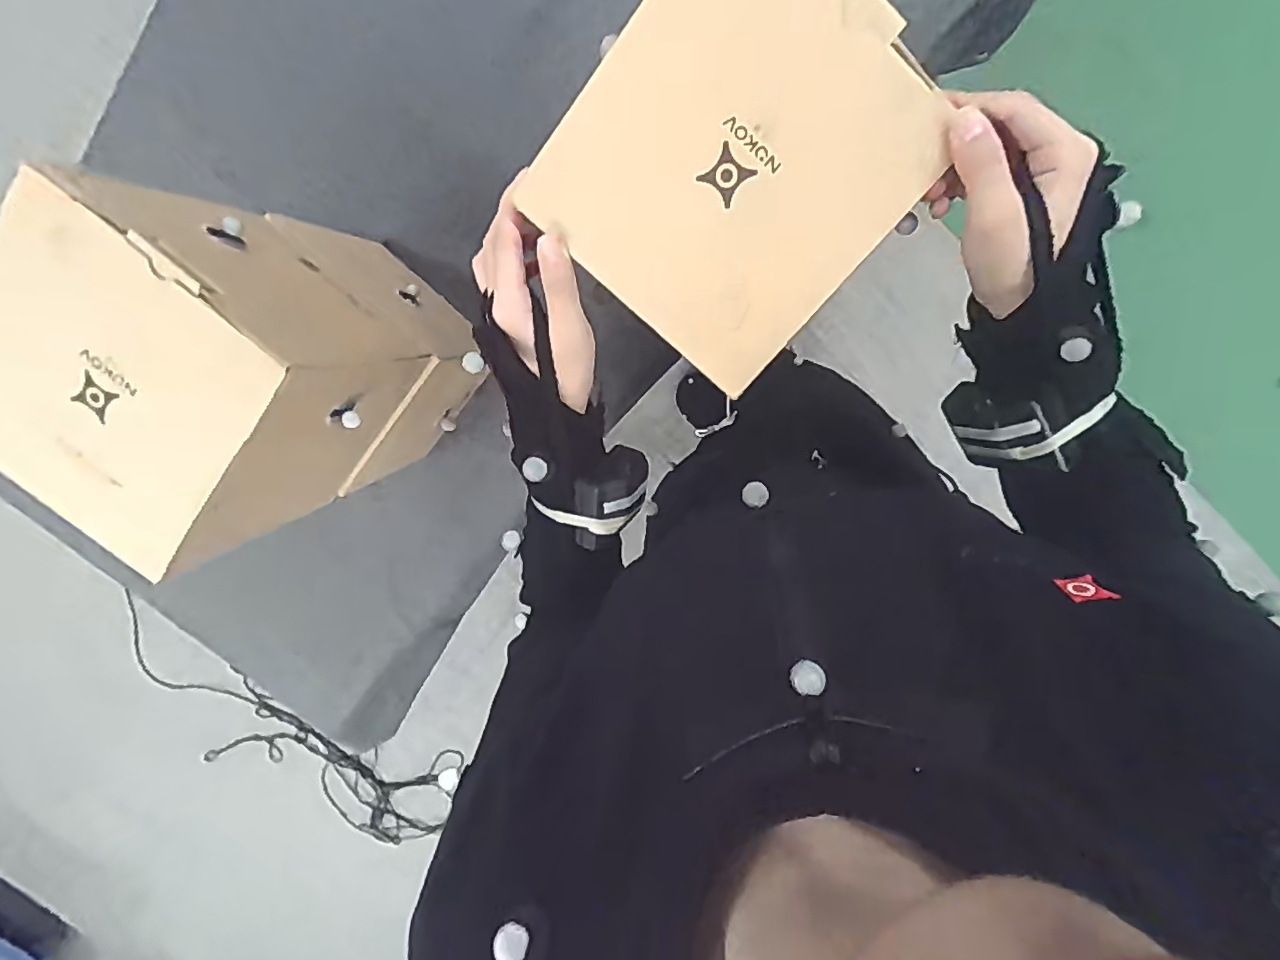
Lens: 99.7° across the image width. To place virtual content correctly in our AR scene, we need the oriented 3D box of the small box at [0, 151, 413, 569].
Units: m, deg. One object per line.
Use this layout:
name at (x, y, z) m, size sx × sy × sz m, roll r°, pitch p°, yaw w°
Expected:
small box at (-0.294, -0.078, 0.382) m, size 0.168 × 0.176 × 0.179 m, roll 40°, pitch 106°, yaw -5°

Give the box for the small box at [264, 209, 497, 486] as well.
small box at (-0.277, -0.125, 0.536) m, size 0.179 × 0.176 × 0.168 m, roll 41°, pitch 105°, yaw -7°
